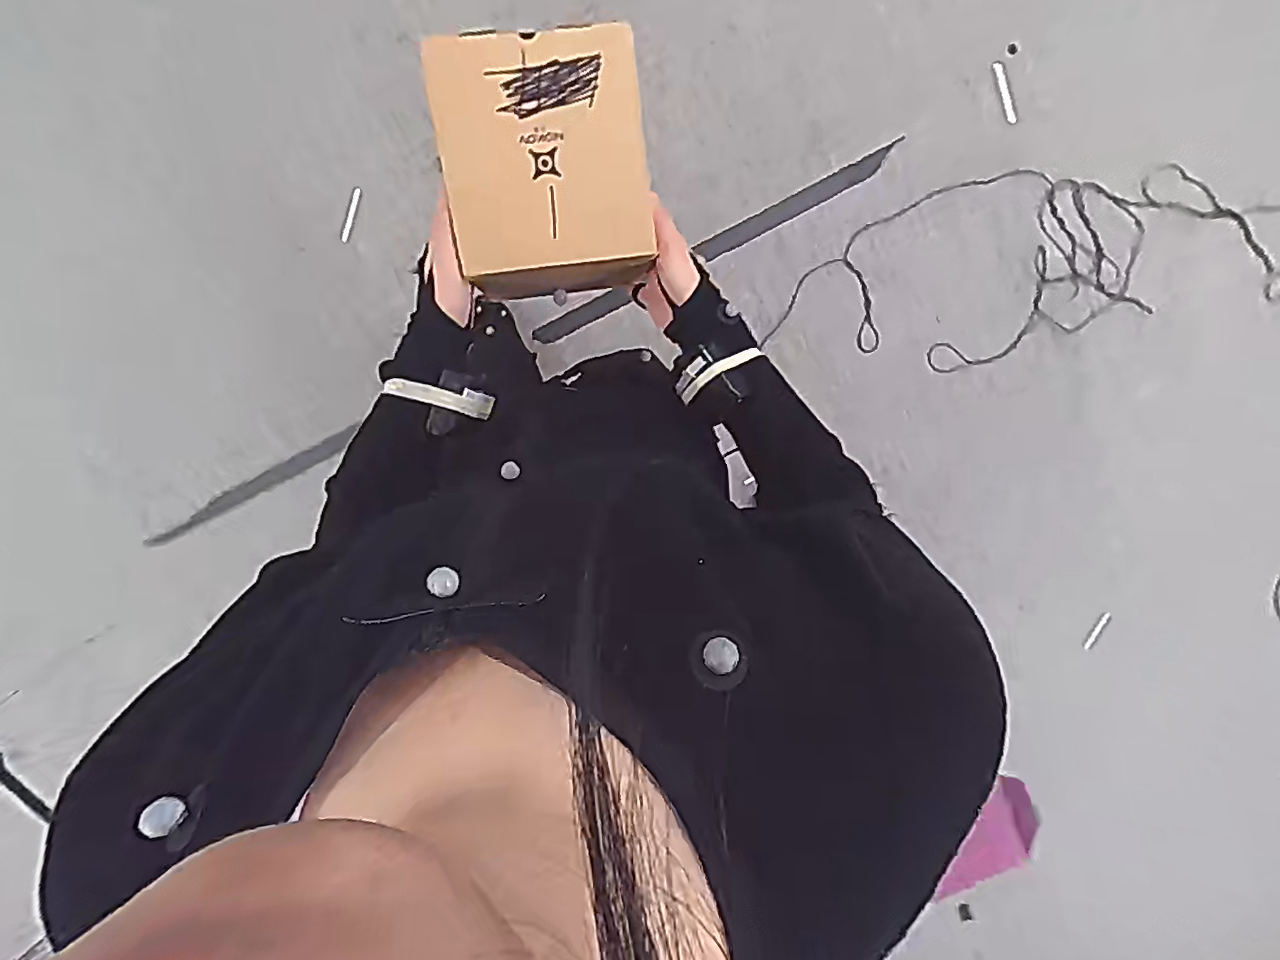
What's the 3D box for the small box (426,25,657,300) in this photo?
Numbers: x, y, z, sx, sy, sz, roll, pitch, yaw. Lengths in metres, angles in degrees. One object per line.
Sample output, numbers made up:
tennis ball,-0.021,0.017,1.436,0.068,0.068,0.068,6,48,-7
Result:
small box,-0.084,-0.277,0.509,0.168,0.176,0.179,-8,103,-5
